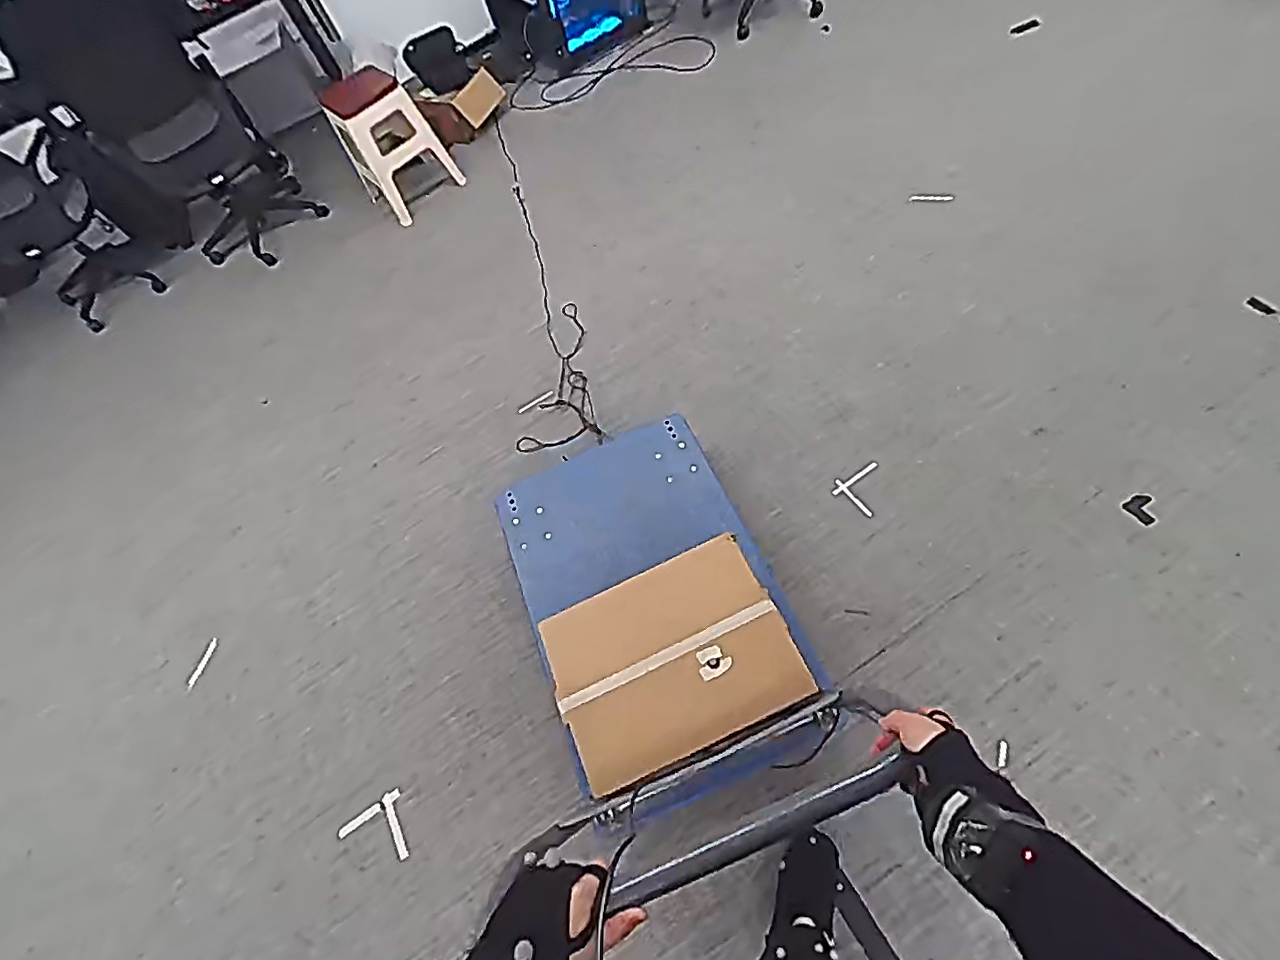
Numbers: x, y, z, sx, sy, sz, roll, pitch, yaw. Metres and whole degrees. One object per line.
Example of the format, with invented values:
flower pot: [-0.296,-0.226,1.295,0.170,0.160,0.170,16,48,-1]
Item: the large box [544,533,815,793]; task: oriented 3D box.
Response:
large box: [0.079,0.372,1.083,0.408,0.320,0.320,-25,62,-2]
